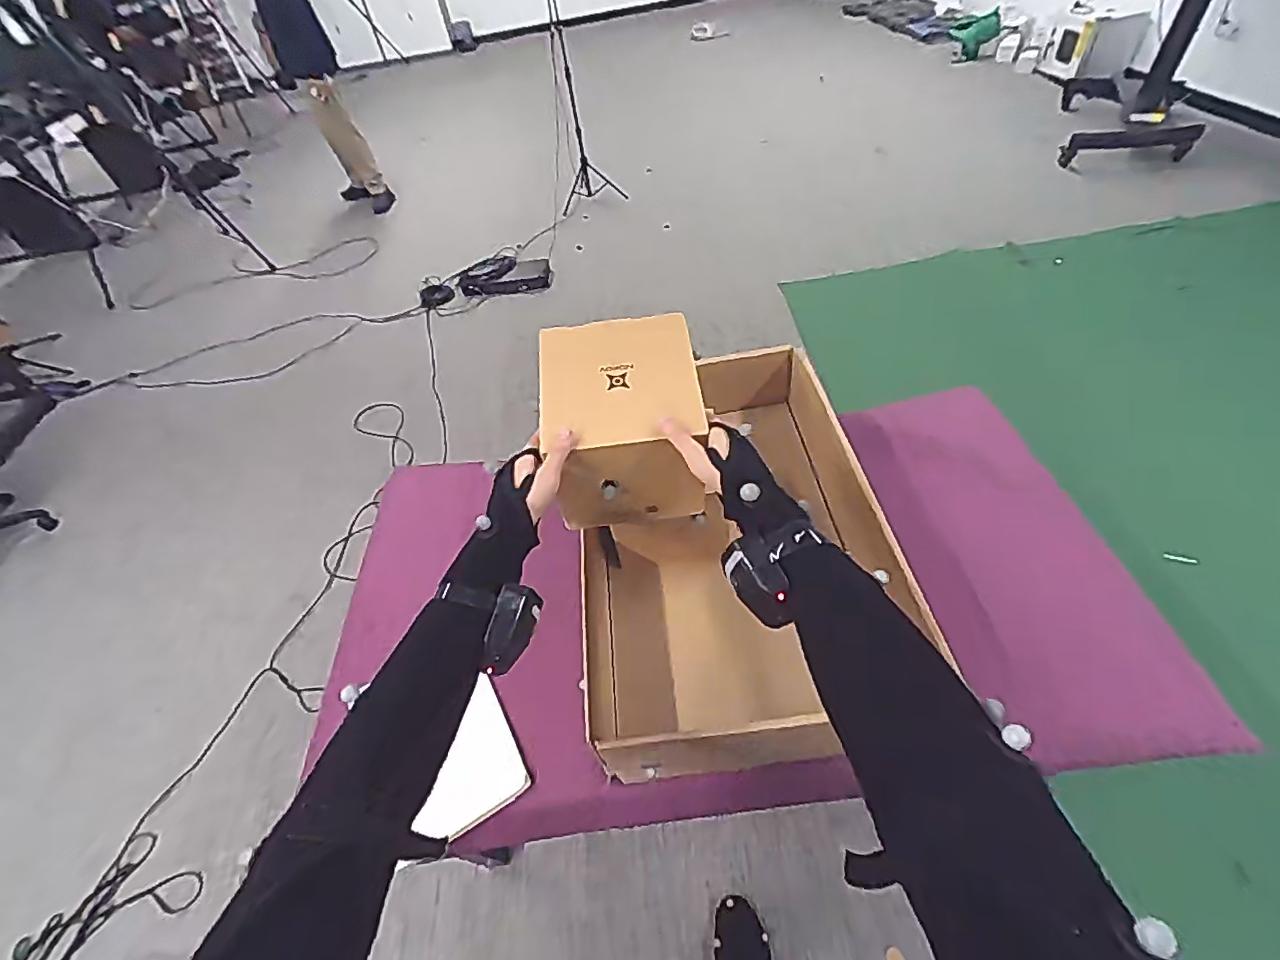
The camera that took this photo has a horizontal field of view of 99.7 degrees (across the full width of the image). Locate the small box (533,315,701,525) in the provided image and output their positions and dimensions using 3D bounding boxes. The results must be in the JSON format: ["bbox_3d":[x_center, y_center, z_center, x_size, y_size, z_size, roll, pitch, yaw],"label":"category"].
[{"bbox_3d":[-0.024,-0.059,0.625,0.168,0.176,0.179,-7,57,-1],"label":"small box"}]
